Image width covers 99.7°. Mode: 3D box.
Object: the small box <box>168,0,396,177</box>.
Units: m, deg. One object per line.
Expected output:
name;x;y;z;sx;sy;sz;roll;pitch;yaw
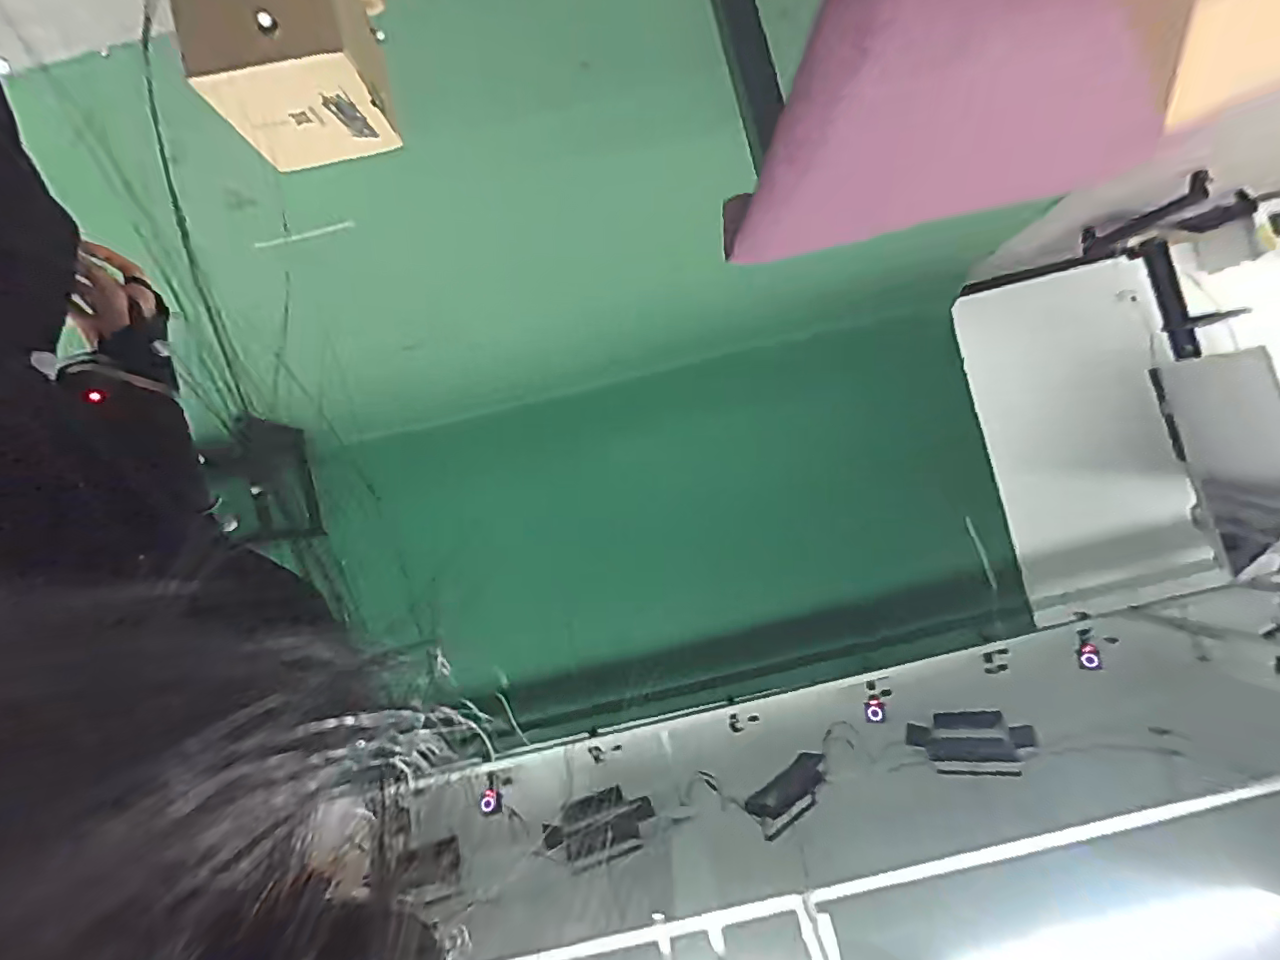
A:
small box;-0.437;-0.520;0.671;0.179;0.176;0.168;-13;177;-3
